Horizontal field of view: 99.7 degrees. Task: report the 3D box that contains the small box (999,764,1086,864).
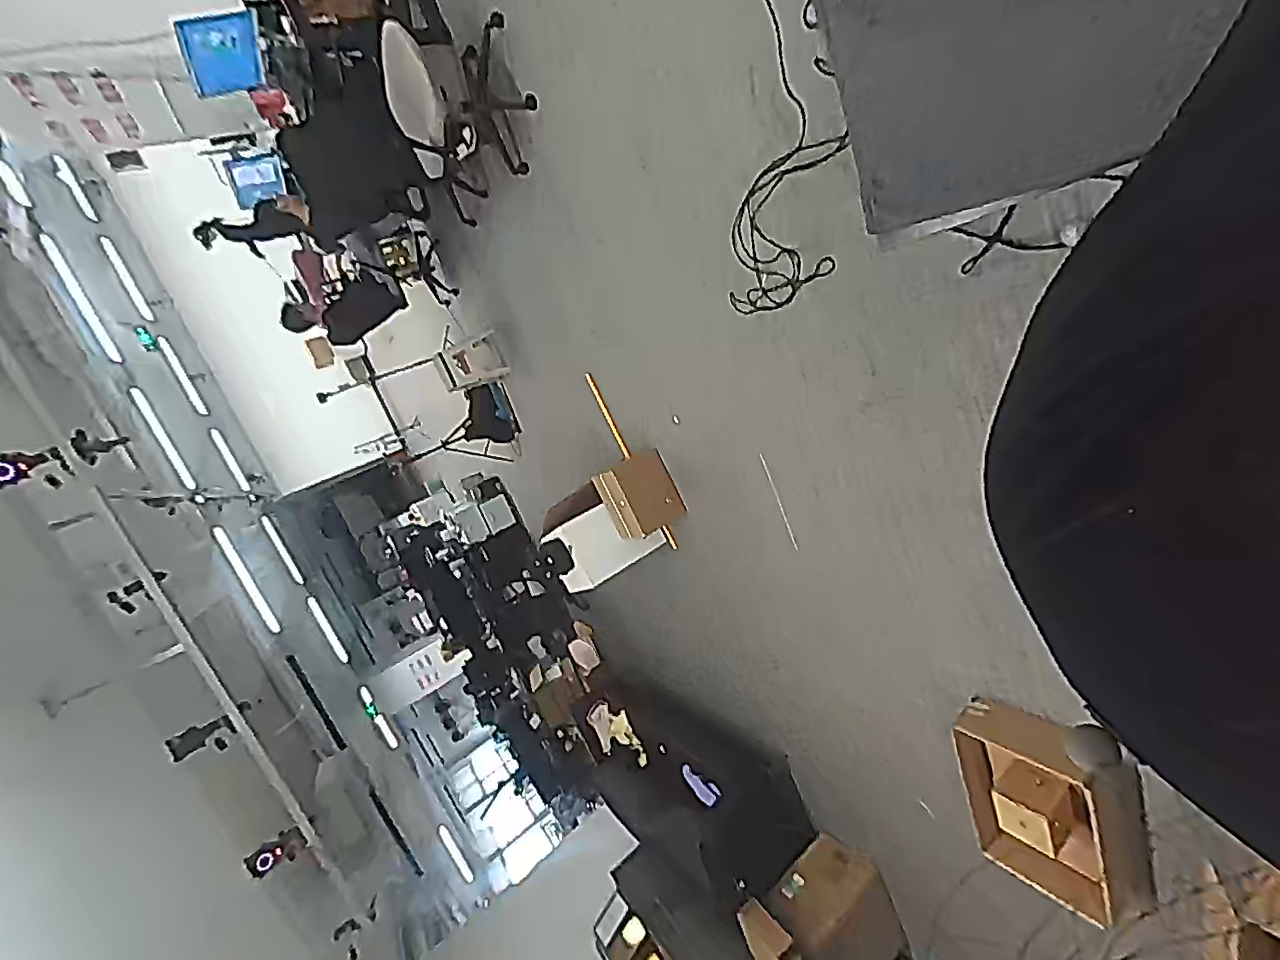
[{"bbox_3d":[1.316,1.080,1.761,0.168,0.176,0.179,6,121,61],"label":"small box"}]
